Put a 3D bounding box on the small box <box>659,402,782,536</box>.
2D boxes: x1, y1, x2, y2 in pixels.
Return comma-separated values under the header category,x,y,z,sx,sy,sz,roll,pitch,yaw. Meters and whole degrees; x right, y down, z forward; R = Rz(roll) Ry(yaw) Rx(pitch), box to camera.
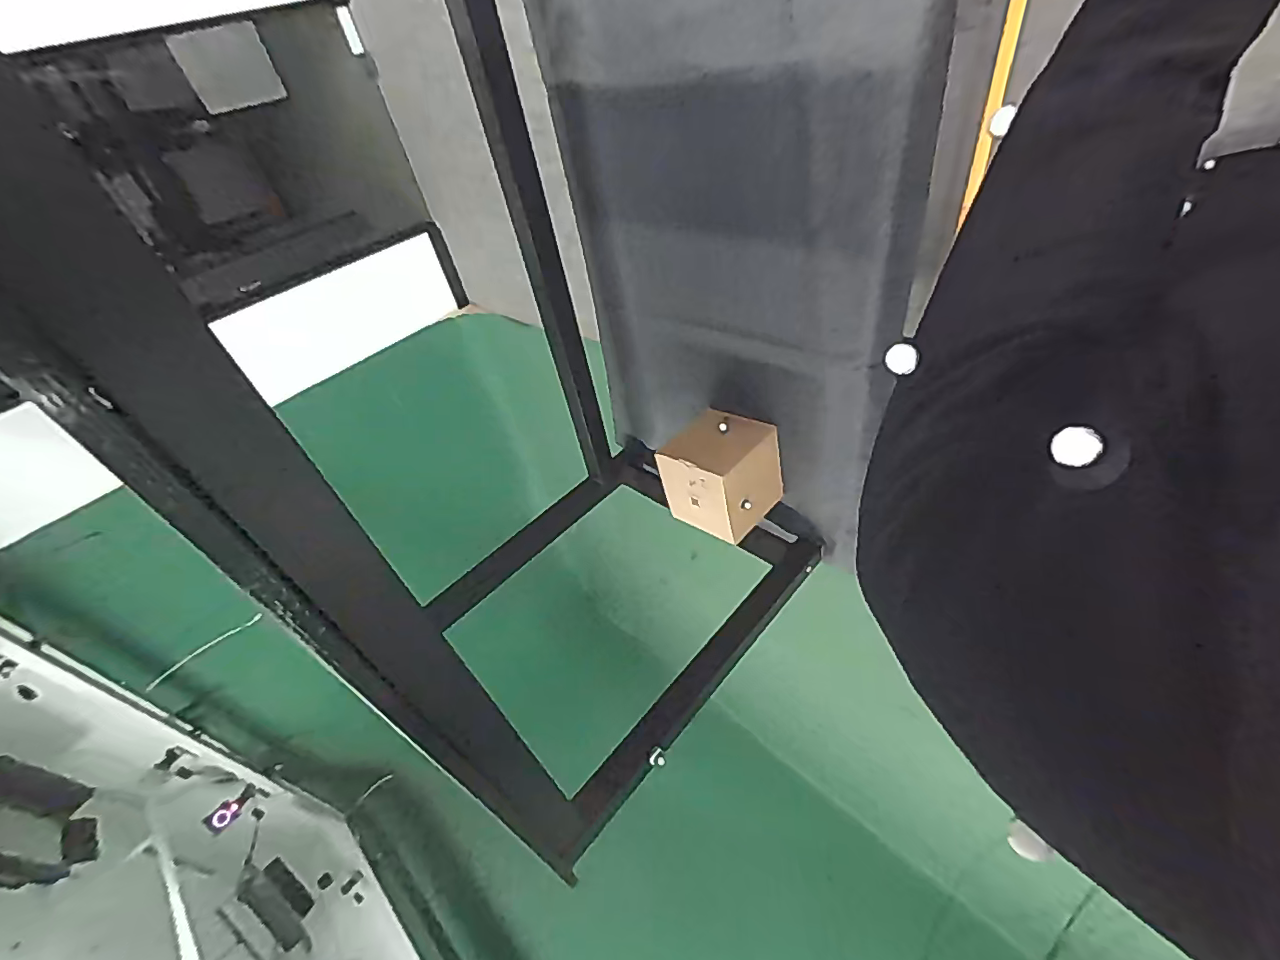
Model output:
category,x,y,z,sx,sy,sz,roll,pitch,yaw
small box,0.167,-0.027,1.071,0.168,0.176,0.179,23,143,41
